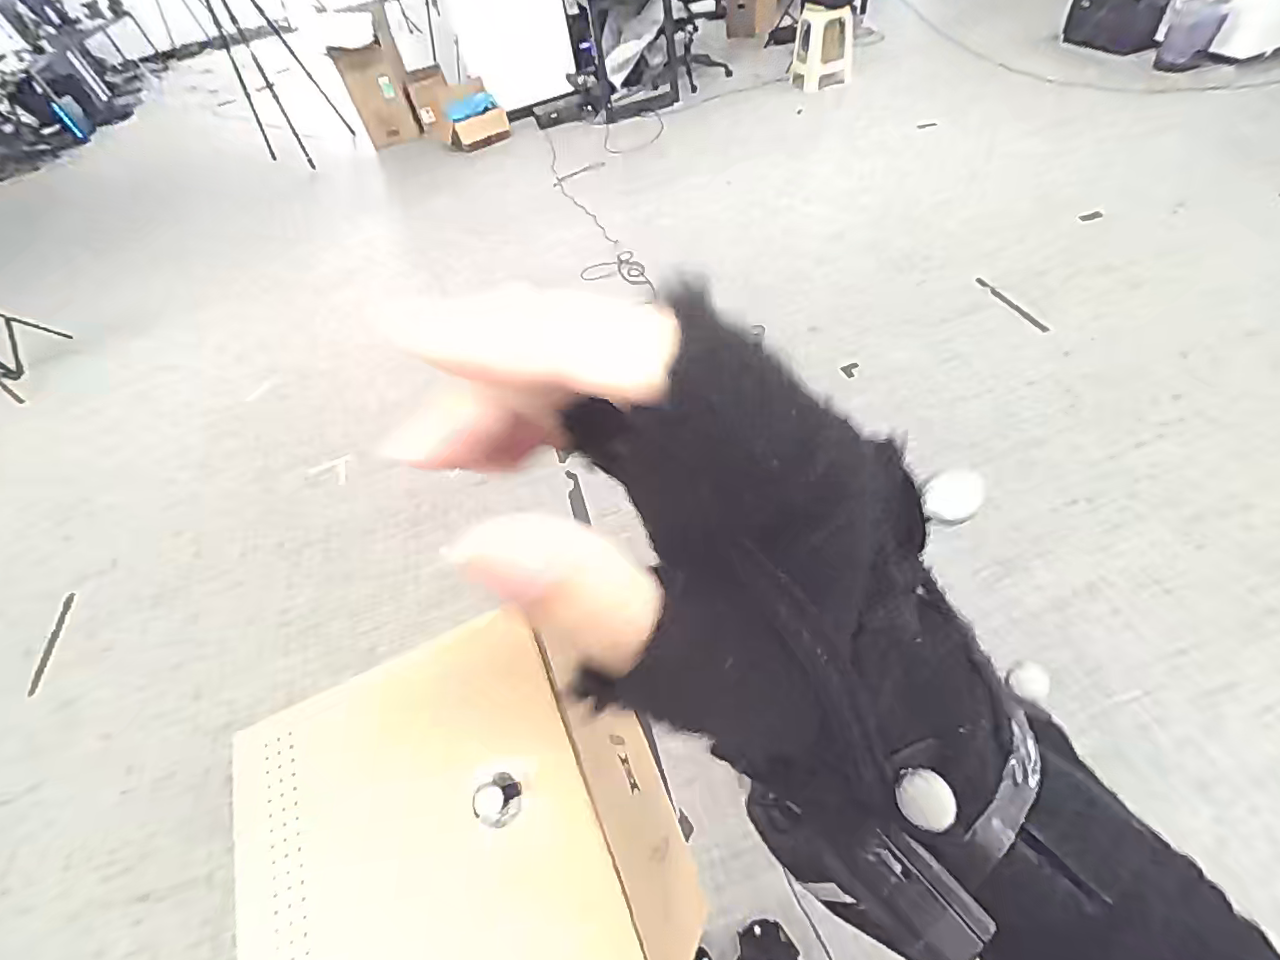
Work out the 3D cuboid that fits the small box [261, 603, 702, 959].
[{"bbox_3d":[-0.083,0.203,0.314,0.176,0.168,0.179,-26,61,-1],"label":"small box"}]
